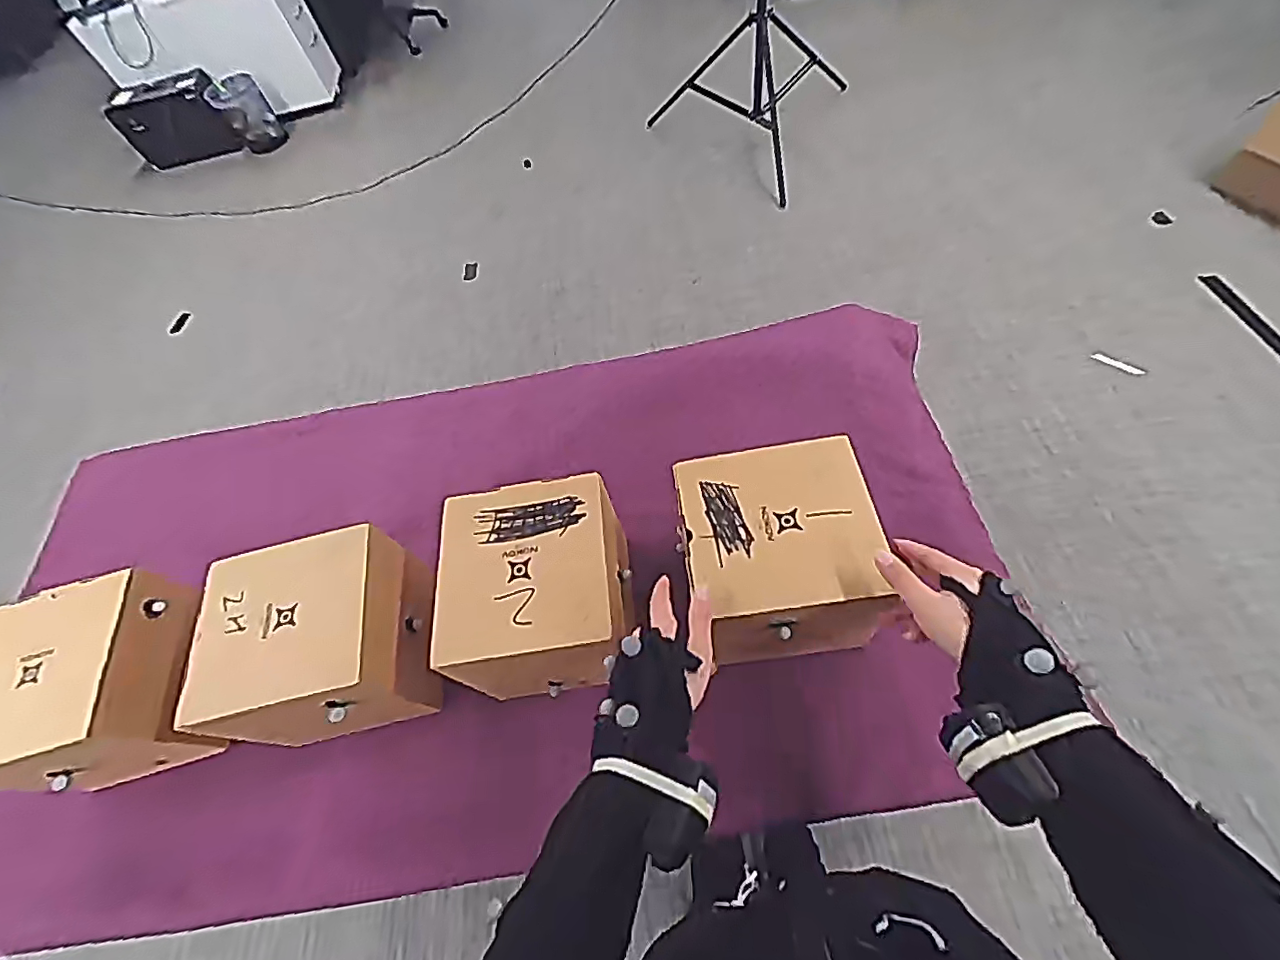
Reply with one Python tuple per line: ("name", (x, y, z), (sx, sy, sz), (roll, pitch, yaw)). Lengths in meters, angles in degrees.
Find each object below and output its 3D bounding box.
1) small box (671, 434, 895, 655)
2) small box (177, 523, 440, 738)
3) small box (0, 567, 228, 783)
("small box", (0.134, 0.075, 0.564), (0.179, 0.176, 0.168), (-8, 58, 4))
("small box", (-0.335, 0.171, 0.591), (0.179, 0.176, 0.168), (-14, 58, 1))
("small box", (-0.586, 0.225, 0.605), (0.168, 0.176, 0.179), (-17, 58, -1))
